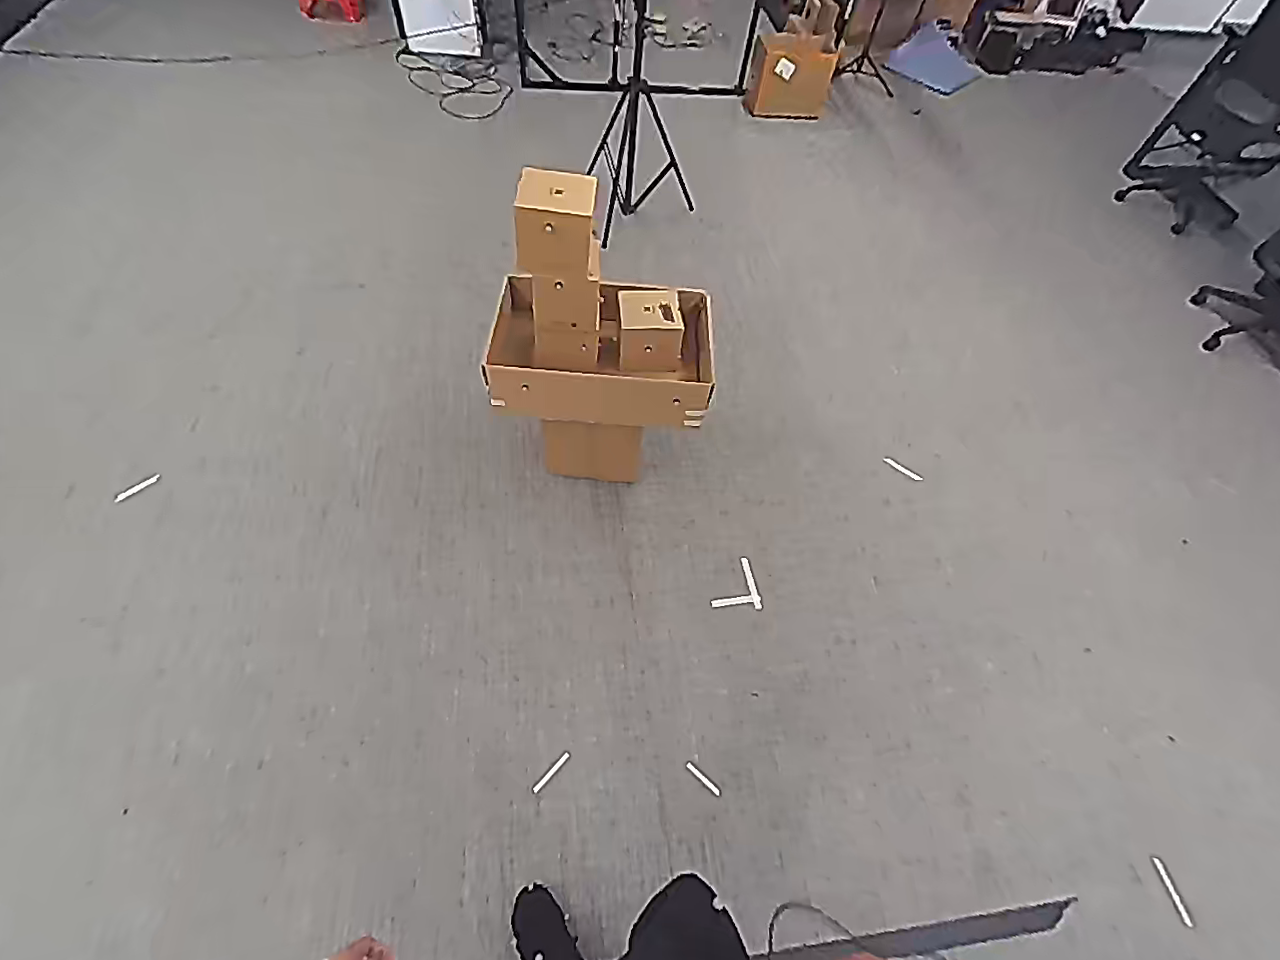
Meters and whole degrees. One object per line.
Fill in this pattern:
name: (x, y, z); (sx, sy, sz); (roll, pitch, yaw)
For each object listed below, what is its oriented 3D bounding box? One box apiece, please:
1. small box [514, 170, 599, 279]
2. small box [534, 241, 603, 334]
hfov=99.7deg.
small box: (-0.195, -0.603, 1.289); (0.179, 0.176, 0.168); (5, 56, -4)
small box: (-0.187, -0.512, 1.426); (0.168, 0.176, 0.179); (2, 56, -6)
